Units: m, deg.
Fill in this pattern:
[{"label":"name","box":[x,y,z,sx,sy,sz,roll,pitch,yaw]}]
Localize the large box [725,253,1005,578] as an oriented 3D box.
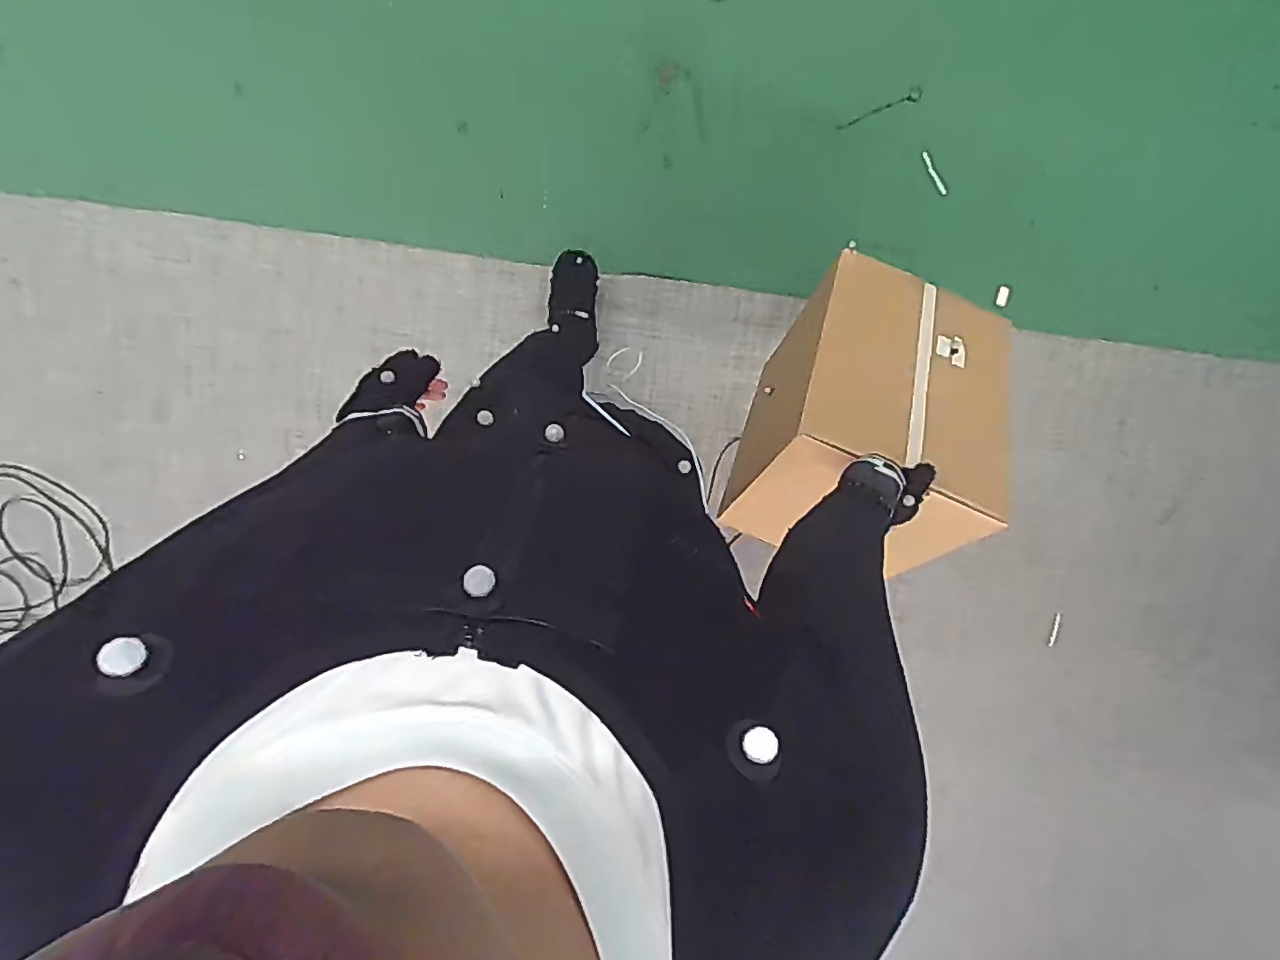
[{"label":"large box","box":[0.381,-0.098,0.947,0.320,0.320,0.408,24,61,-3]}]
